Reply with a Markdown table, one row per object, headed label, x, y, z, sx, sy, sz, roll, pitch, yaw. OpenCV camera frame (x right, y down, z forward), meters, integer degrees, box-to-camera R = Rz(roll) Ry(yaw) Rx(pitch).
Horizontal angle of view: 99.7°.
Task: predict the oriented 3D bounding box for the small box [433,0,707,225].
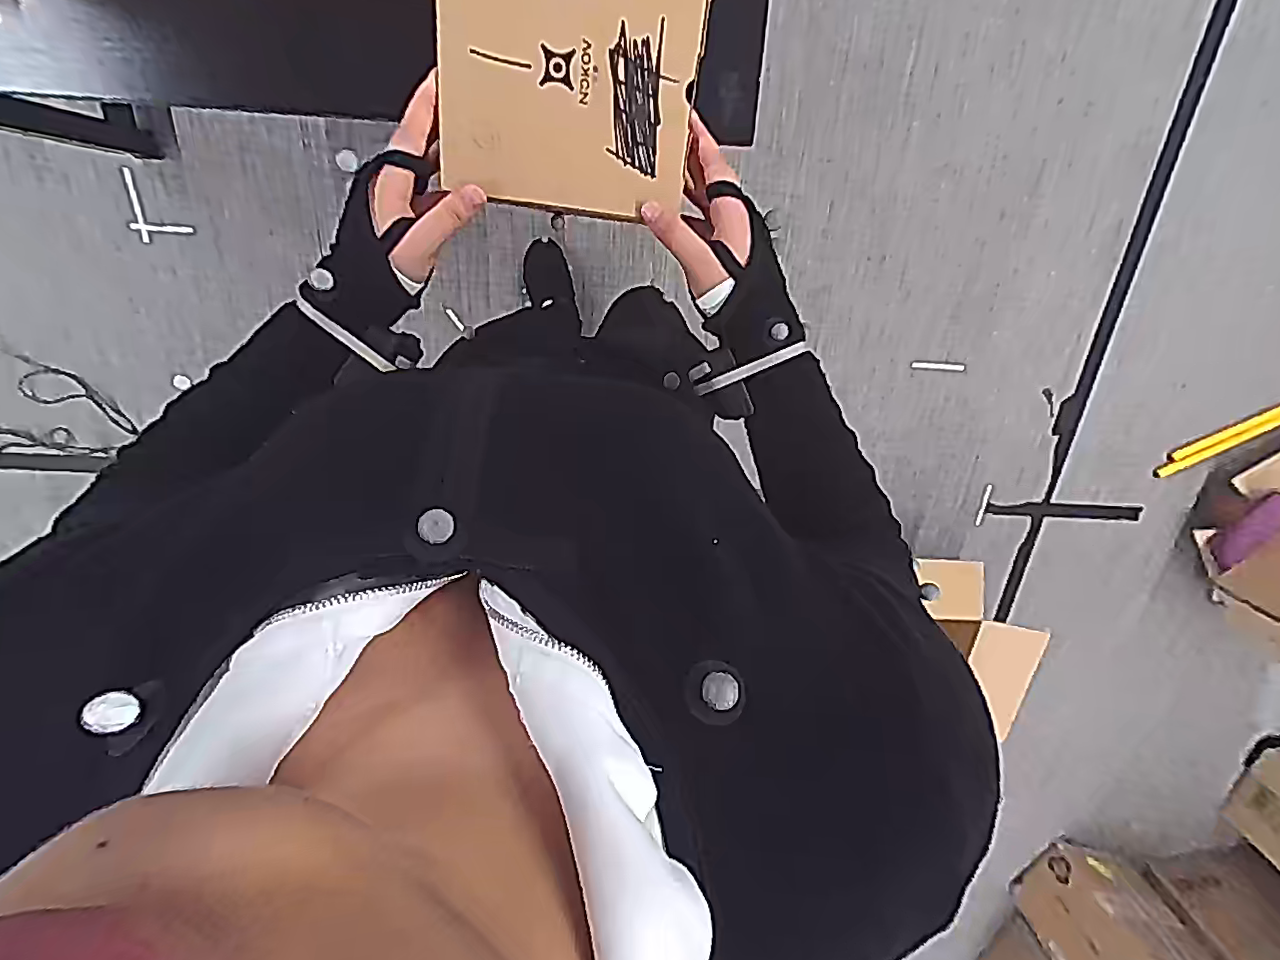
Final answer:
| label | x | y | z | sx | sy | sz | roll | pitch | yaw |
| --- | --- | --- | --- | --- | --- | --- | --- | --- | --- |
| small box | -0.054 | -0.309 | 0.435 | 0.179 | 0.176 | 0.168 | 6 | 114 | -6 |
